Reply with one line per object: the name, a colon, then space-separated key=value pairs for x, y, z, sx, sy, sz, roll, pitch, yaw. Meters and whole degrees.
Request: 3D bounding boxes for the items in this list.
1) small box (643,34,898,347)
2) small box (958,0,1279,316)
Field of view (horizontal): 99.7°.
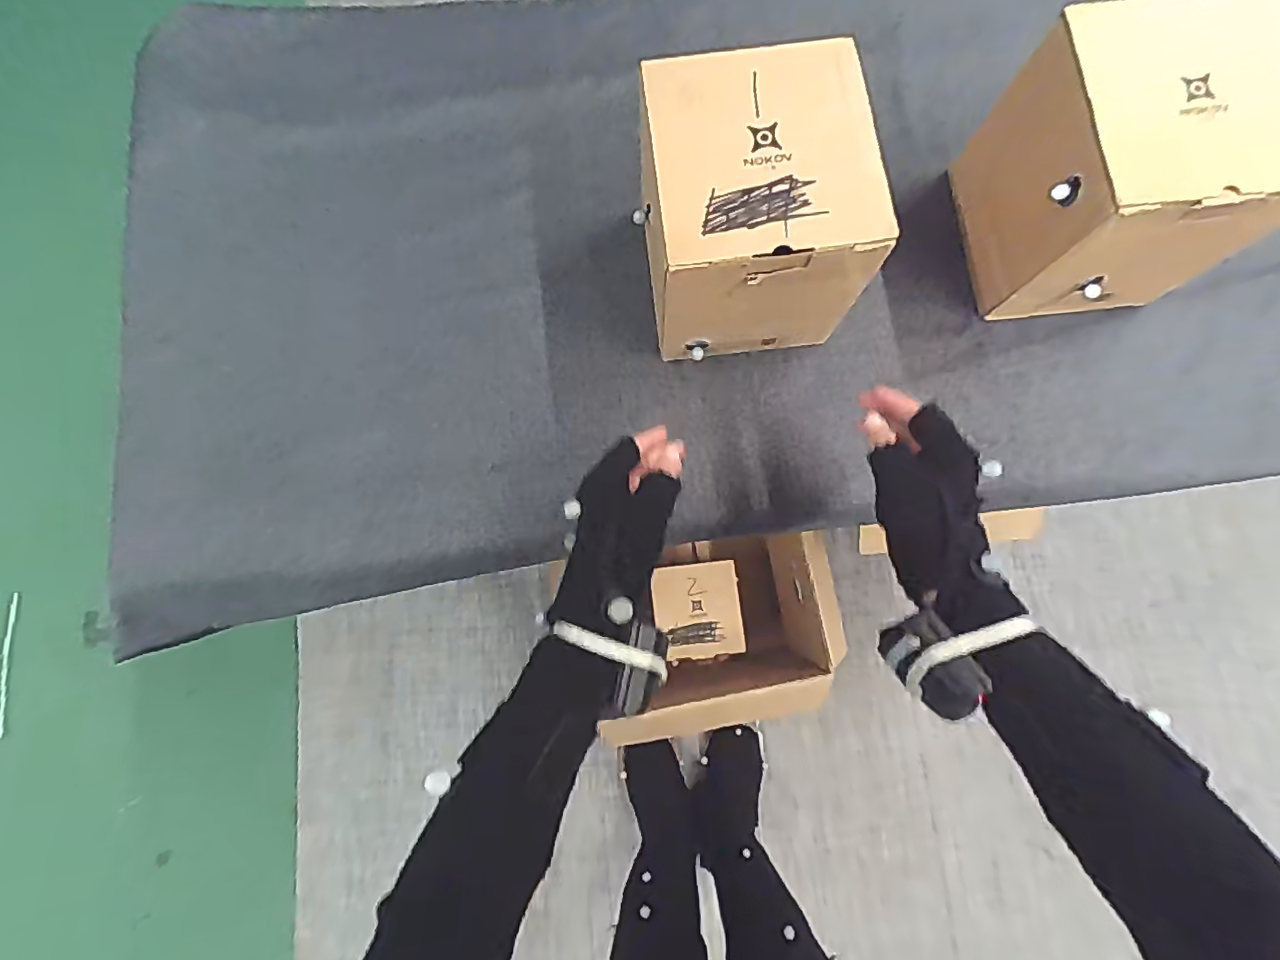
small box: x=0.094 y=-0.227 z=0.470 sx=0.168 sy=0.176 sz=0.179 roll=-6 pitch=79 yaw=0
small box: x=0.412 y=-0.268 z=0.471 sx=0.168 sy=0.176 sz=0.179 roll=-6 pitch=80 yaw=1
